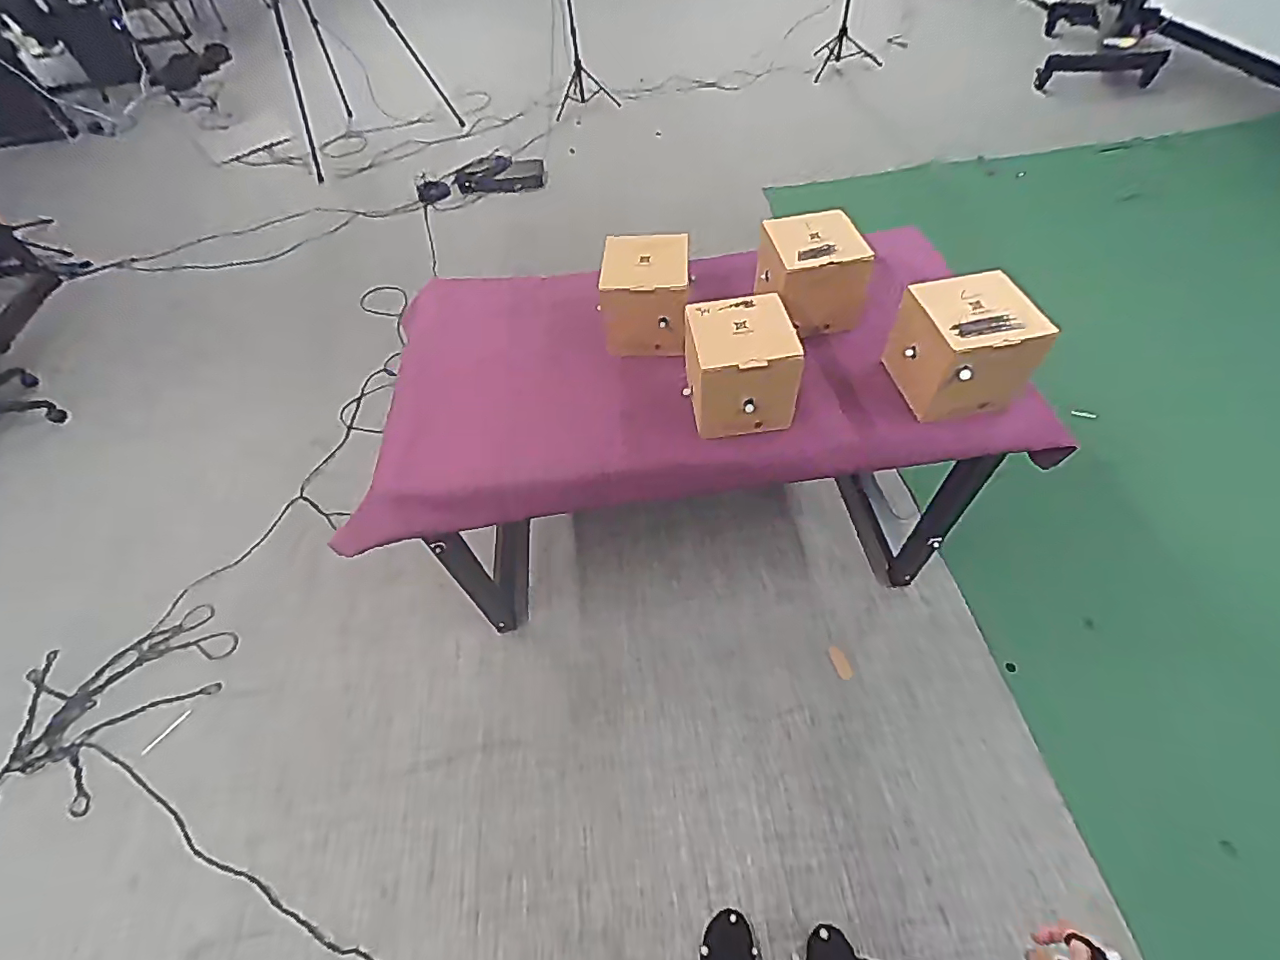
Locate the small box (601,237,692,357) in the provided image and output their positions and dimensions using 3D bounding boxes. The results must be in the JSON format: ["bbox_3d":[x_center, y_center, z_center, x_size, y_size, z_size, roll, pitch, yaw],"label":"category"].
[{"bbox_3d":[0.021,-0.366,1.099,0.168,0.176,0.179,1,54,6],"label":"small box"}]

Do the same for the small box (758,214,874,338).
[{"bbox_3d":[0.344,-0.404,1.093,0.168,0.176,0.179,-8,52,-1],"label":"small box"}]

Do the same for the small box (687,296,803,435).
[{"bbox_3d":[0.176,-0.194,0.955,0.168,0.176,0.179,-7,53,1],"label":"small box"}]
